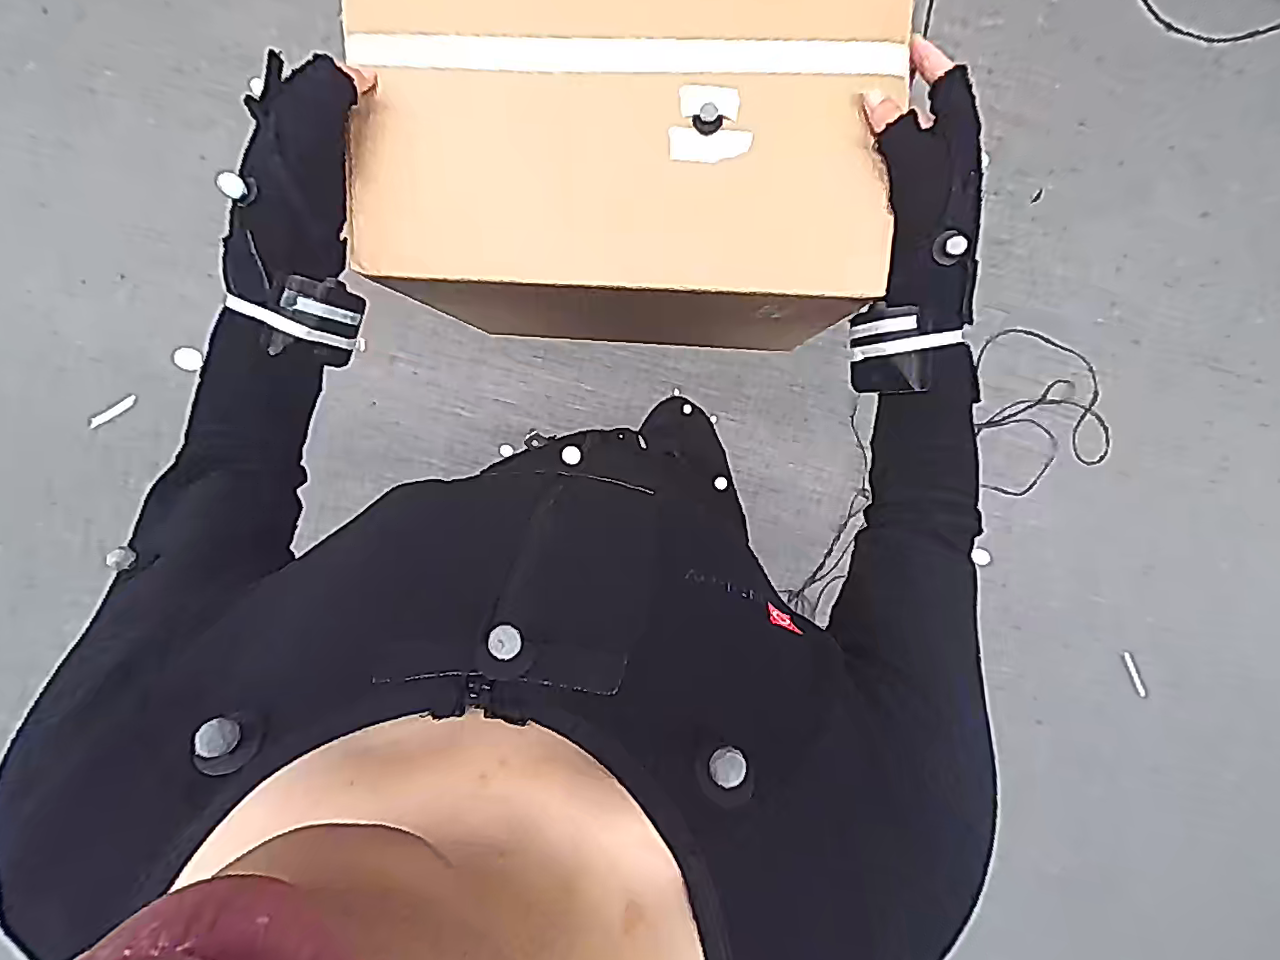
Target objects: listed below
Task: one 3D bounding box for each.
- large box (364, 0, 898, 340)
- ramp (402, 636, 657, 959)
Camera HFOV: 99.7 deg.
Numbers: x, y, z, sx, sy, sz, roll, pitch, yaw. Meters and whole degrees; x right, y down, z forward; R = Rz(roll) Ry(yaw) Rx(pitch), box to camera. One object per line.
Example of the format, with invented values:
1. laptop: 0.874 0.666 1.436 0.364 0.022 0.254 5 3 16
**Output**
1. large box: -0.007 -0.326 0.553 0.408 0.320 0.320 3 97 2
2. ramp: -0.308 0.973 1.487 0.509 0.206 0.991 13 95 1
